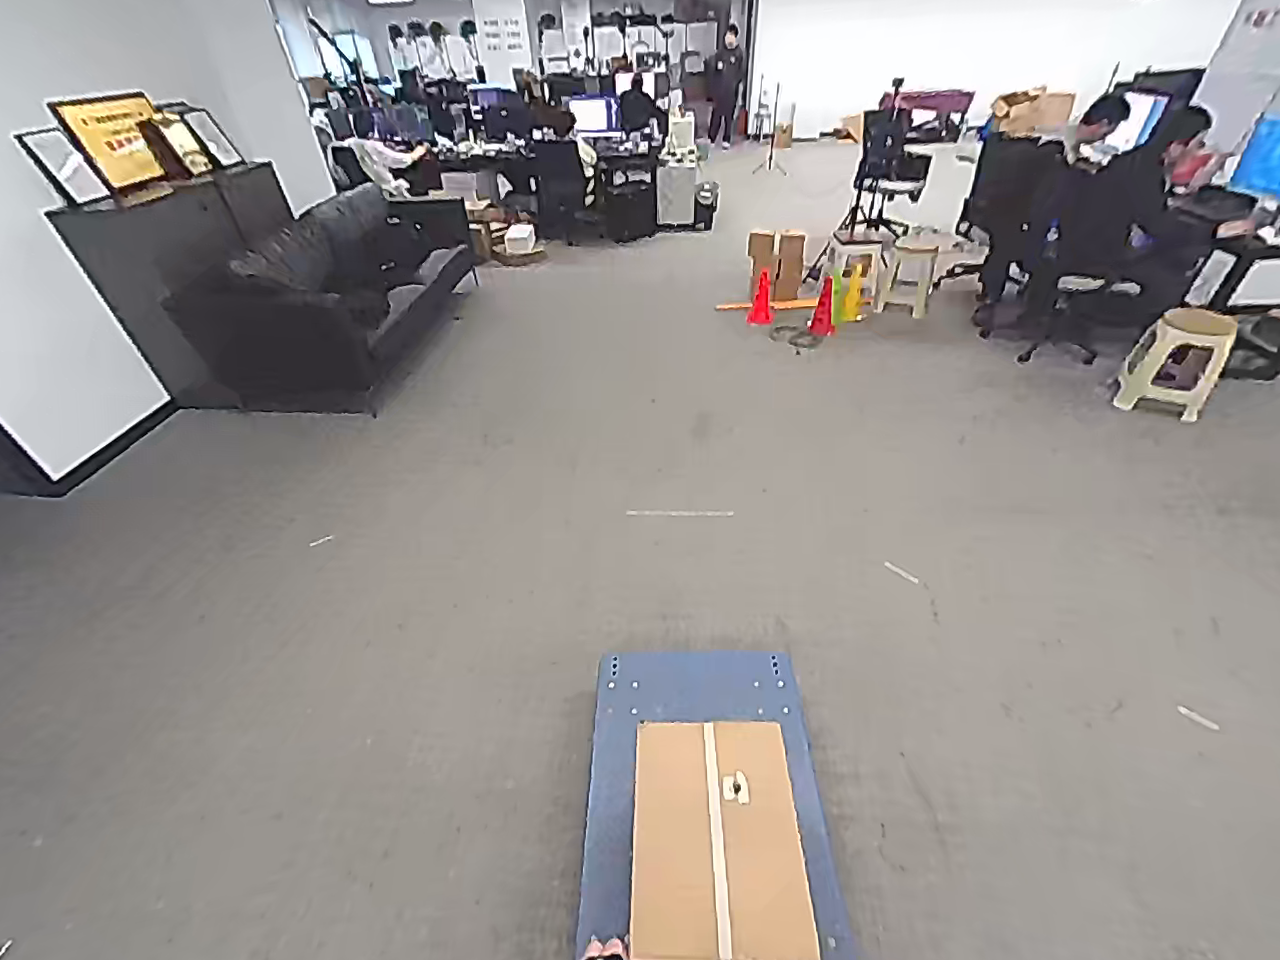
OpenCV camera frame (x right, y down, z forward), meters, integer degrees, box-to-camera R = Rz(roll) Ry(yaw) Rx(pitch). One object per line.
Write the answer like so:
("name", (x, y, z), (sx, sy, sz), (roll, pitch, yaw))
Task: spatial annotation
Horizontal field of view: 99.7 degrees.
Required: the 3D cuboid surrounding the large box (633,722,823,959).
("large box", (0.154, 0.773, 1.115), (0.320, 0.320, 0.408), (-1, 38, 3))
